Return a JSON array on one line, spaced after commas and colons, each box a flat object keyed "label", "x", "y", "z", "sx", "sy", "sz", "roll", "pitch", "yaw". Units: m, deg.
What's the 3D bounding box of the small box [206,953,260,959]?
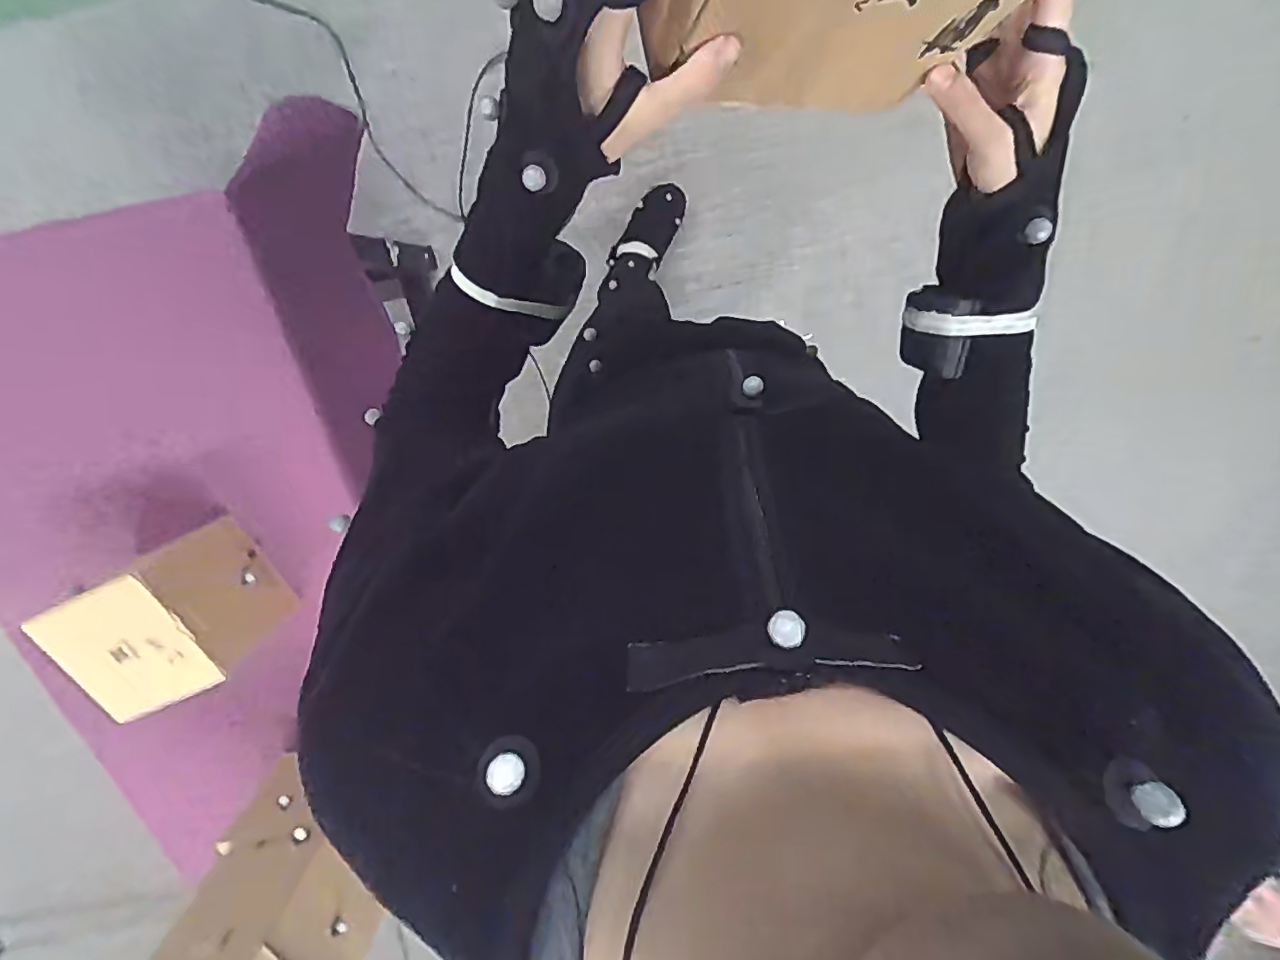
[{"label": "small box", "x": -0.476, "y": 0.635, "z": 0.552, "sx": 0.179, "sy": 0.176, "sz": 0.168, "roll": -21, "pitch": 108, "yaw": 7}]

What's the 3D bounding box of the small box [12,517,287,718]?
[{"label": "small box", "x": -0.633, "y": 0.175, "z": 0.726, "sx": 0.179, "sy": 0.176, "sz": 0.168, "roll": -22, "pitch": 109, "yaw": 7}]

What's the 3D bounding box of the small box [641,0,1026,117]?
[{"label": "small box", "x": 0.095, "y": -0.299, "z": 0.230, "sx": 0.179, "sy": 0.168, "sz": 0.176, "roll": -11, "pitch": 92, "yaw": -23}]
